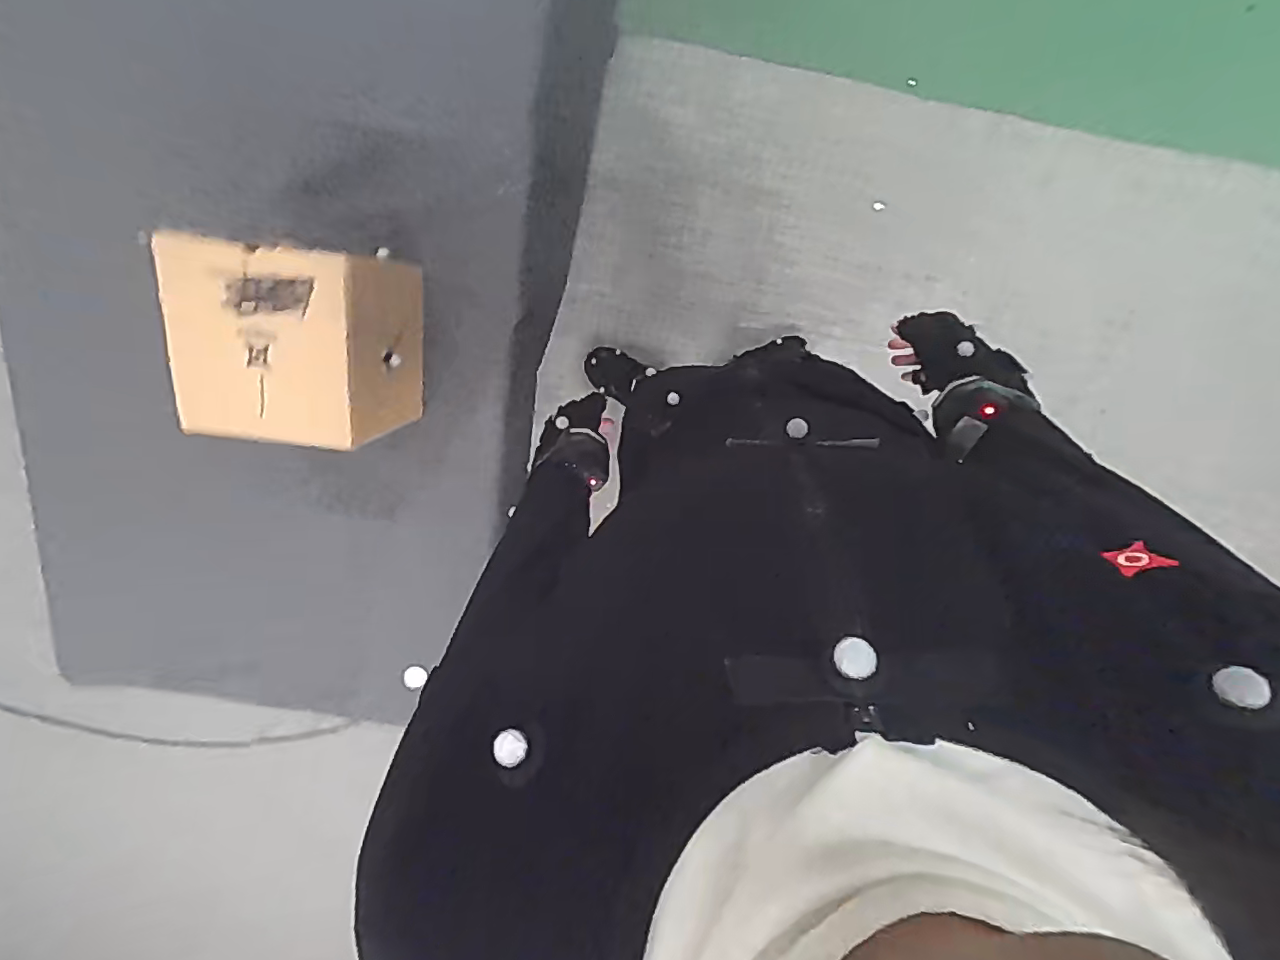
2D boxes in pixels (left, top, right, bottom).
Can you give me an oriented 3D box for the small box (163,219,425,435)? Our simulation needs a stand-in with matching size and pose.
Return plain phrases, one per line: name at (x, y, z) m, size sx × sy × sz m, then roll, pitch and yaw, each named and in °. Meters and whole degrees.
small box at (-0.341, -0.160, 0.571) m, size 0.168 × 0.176 × 0.179 m, roll 7°, pitch 109°, yaw -1°
